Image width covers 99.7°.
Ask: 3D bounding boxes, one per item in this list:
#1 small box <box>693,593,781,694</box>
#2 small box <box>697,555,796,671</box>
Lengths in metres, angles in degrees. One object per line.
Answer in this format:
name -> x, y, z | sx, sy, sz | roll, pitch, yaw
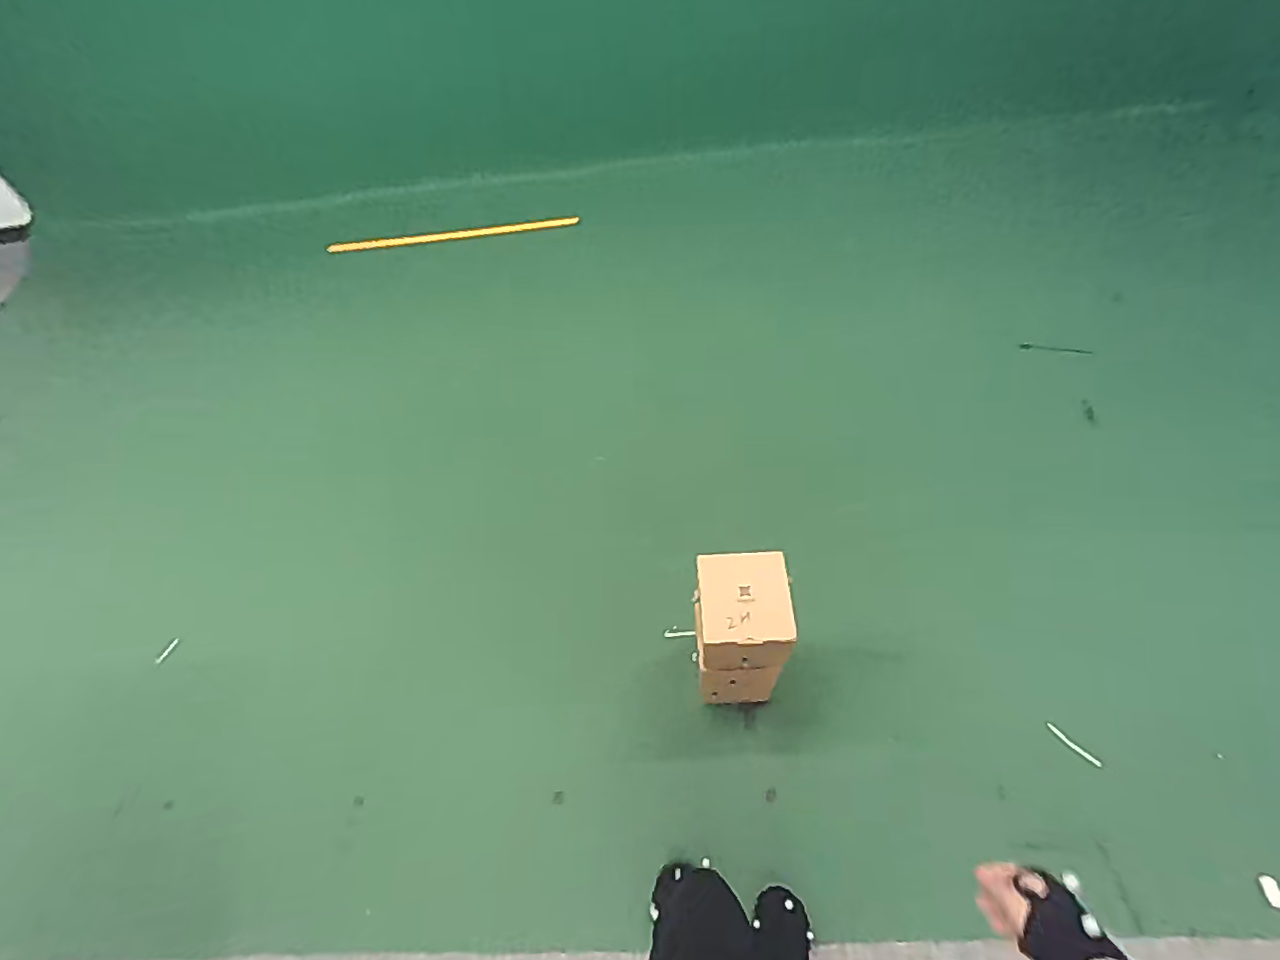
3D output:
small box -> 0.204, 0.360, 1.191 | 0.168, 0.176, 0.179 | -3, 56, 3
small box -> 0.198, 0.263, 1.057 | 0.168, 0.176, 0.179 | -2, 56, 4
